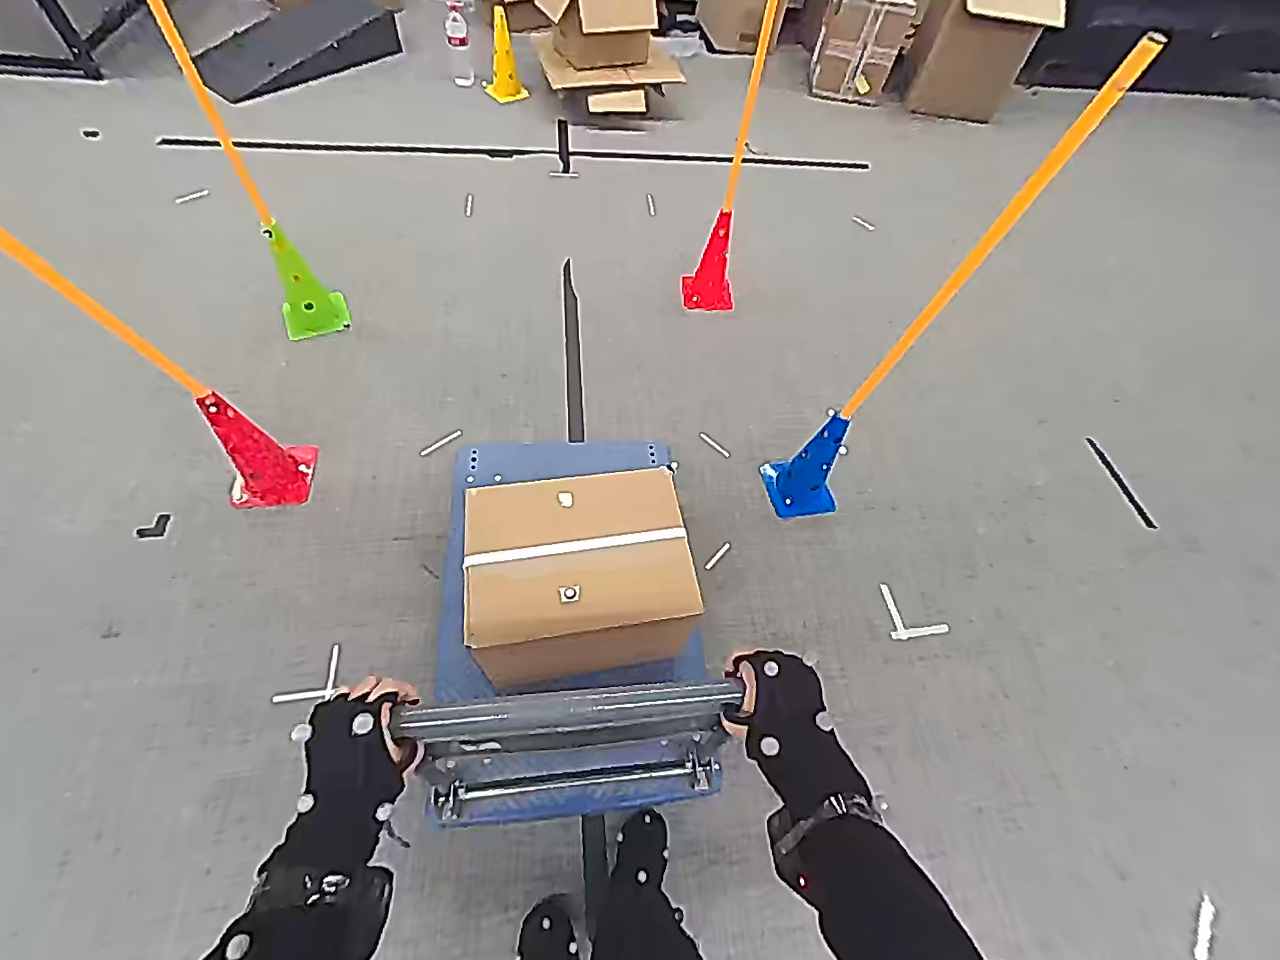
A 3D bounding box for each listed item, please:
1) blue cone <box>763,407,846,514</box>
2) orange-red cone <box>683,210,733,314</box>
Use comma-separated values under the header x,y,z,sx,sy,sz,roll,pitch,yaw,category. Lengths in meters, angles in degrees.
x,y,z,sx,sy,sz,roll,pitch,yaw,category
0.514,-0.068,1.572,0.193,0.380,0.192,-6,57,-10,blue cone
0.289,-0.830,2.018,0.199,0.360,0.198,4,58,-5,orange-red cone
